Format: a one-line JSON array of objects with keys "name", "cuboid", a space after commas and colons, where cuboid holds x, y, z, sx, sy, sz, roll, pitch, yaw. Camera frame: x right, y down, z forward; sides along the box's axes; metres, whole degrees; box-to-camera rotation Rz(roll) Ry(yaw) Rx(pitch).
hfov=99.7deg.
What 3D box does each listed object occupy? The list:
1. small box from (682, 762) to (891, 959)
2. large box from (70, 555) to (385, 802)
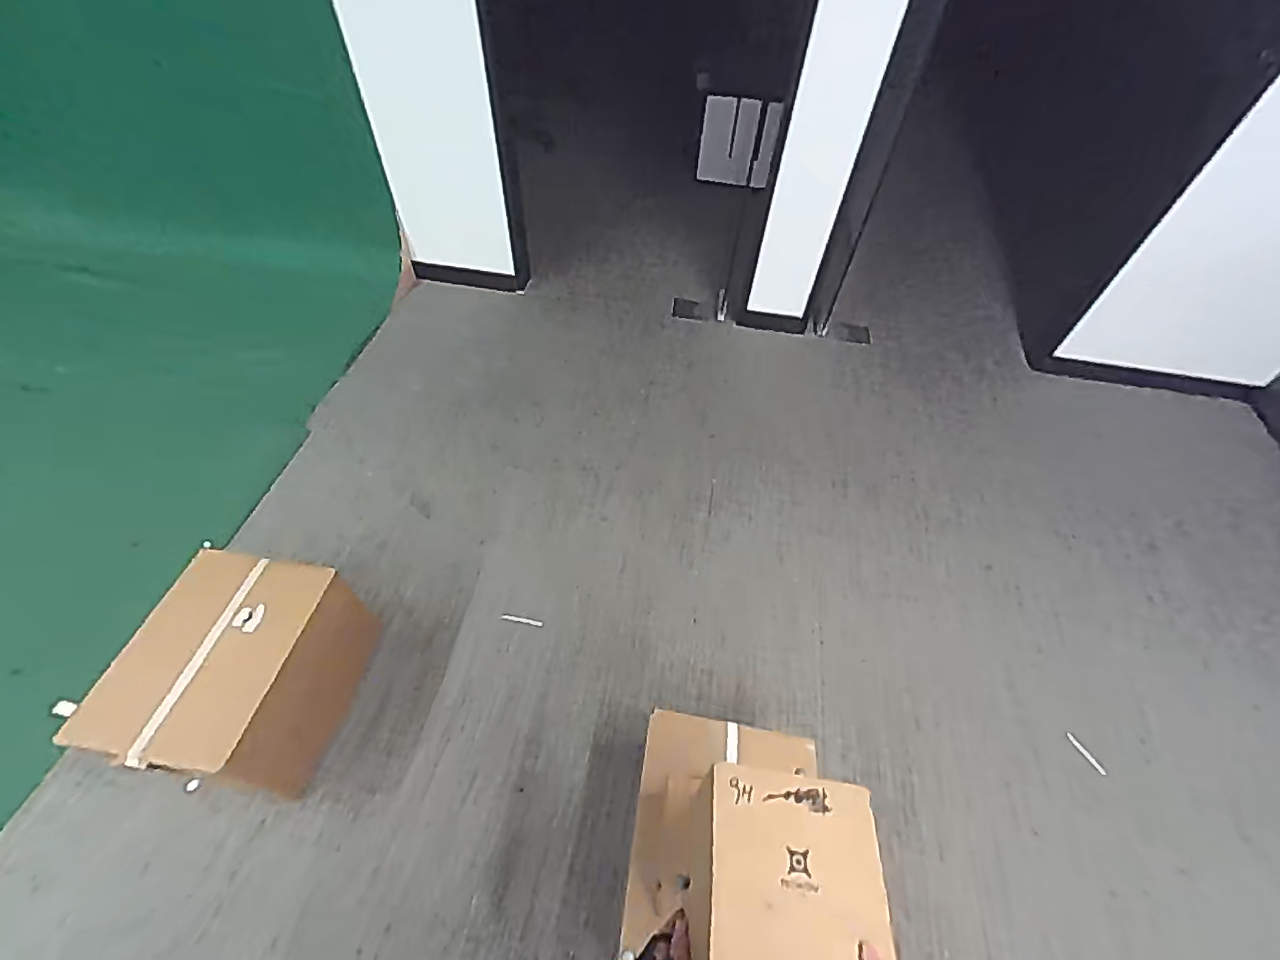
[{"name": "small box", "cuboid": [0.140, 0.429, 0.567, 0.168, 0.176, 0.179, 9, 45, 1]}, {"name": "large box", "cuboid": [-0.831, 0.429, 1.173, 0.320, 0.320, 0.408, 8, 51, 4]}]
